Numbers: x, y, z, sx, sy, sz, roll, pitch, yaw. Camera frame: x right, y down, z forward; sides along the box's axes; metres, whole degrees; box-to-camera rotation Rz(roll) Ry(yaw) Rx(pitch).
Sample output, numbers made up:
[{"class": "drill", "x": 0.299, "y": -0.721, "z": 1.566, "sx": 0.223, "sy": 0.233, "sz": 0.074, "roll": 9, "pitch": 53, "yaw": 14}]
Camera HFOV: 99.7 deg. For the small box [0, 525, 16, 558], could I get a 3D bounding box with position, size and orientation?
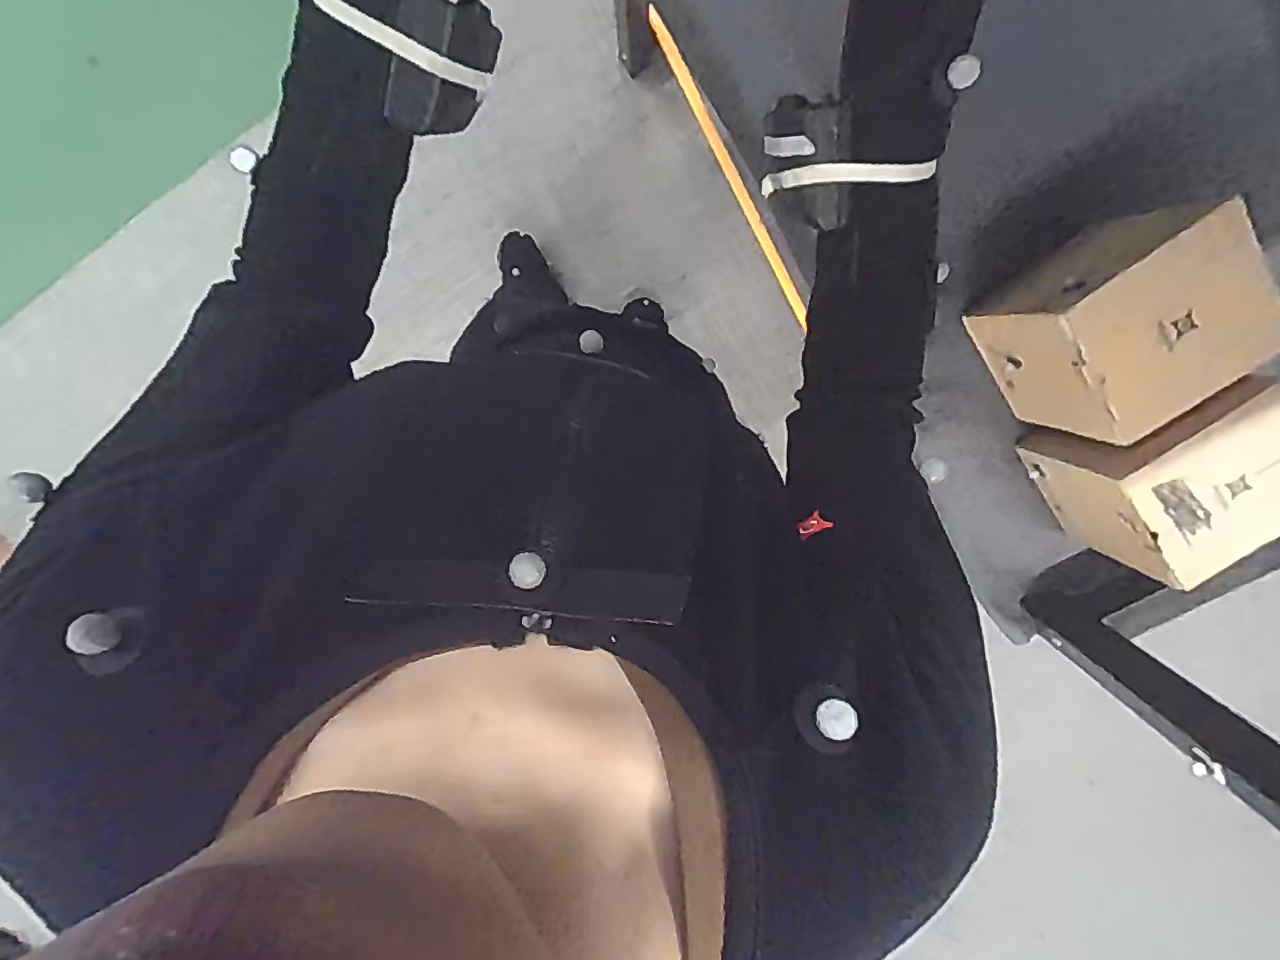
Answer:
[{"class": "small box", "x": -1.936, "y": 0.189, "z": 1.504, "sx": 0.179, "sy": 0.176, "sz": 0.168, "roll": -29, "pitch": 105, "yaw": 8}]
